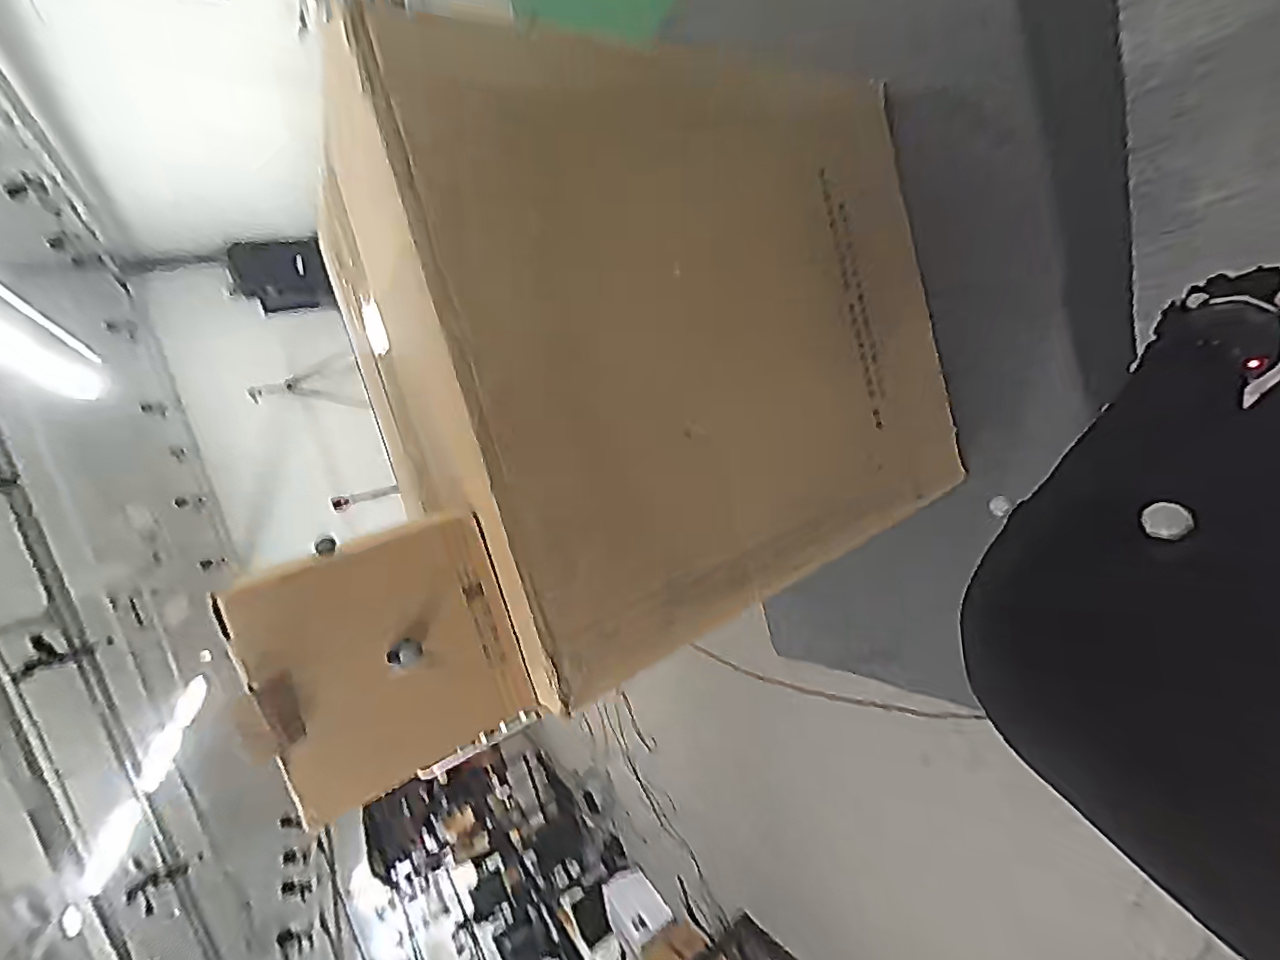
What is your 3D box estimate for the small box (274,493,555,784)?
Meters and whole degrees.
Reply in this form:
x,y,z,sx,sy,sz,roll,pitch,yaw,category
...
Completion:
x,y,z,sx,sy,sz,roll,pitch,yaw,category
-0.193,0.118,0.476,0.179,0.176,0.168,-15,96,57,small box
